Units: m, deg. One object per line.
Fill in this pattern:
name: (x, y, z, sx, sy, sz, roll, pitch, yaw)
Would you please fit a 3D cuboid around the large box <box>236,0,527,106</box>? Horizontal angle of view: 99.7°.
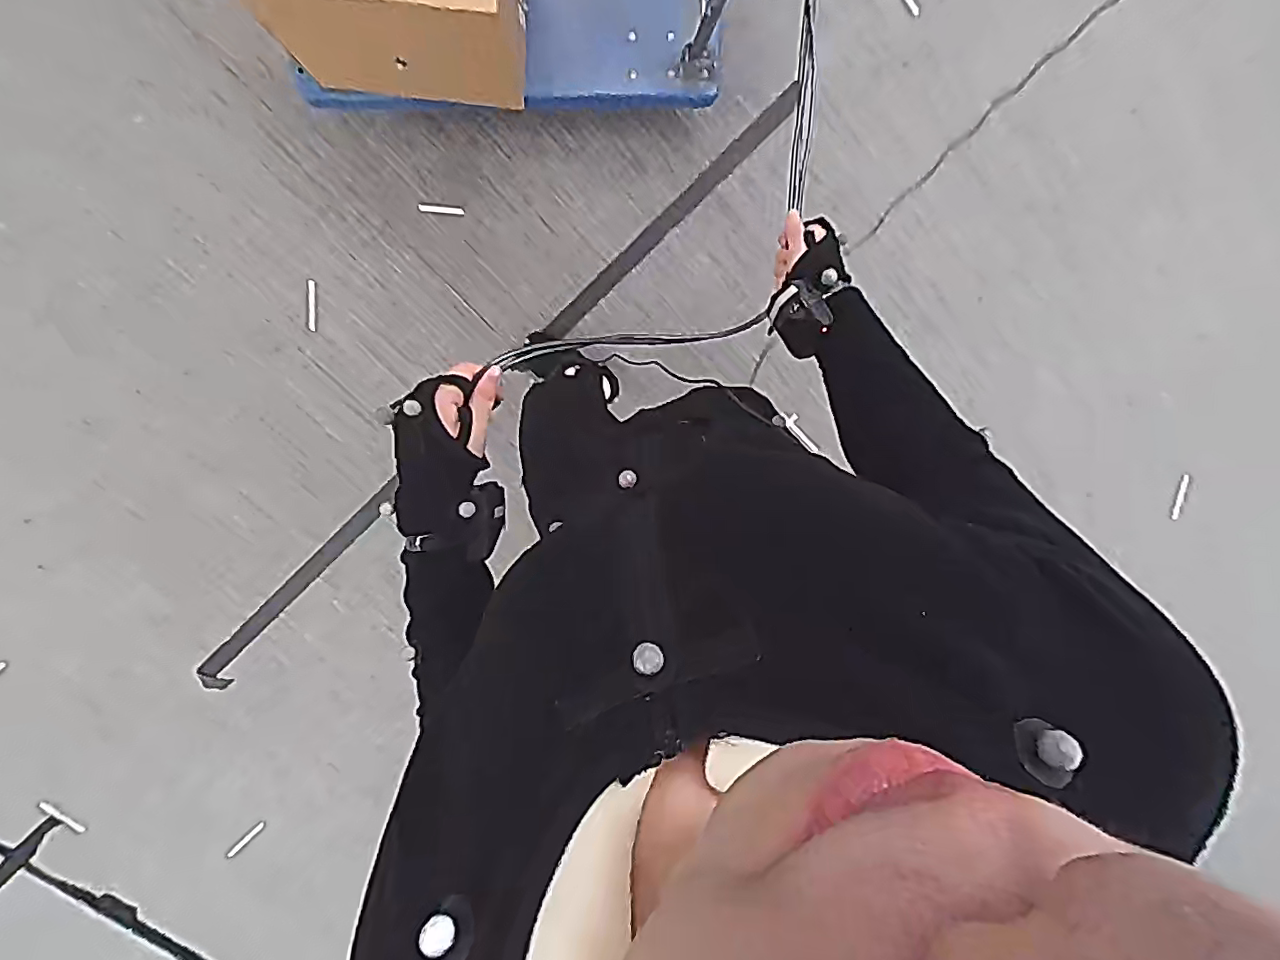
large box: (-0.414, -0.888, 0.923, 0.408, 0.320, 0.320, 2, 100, -4)
